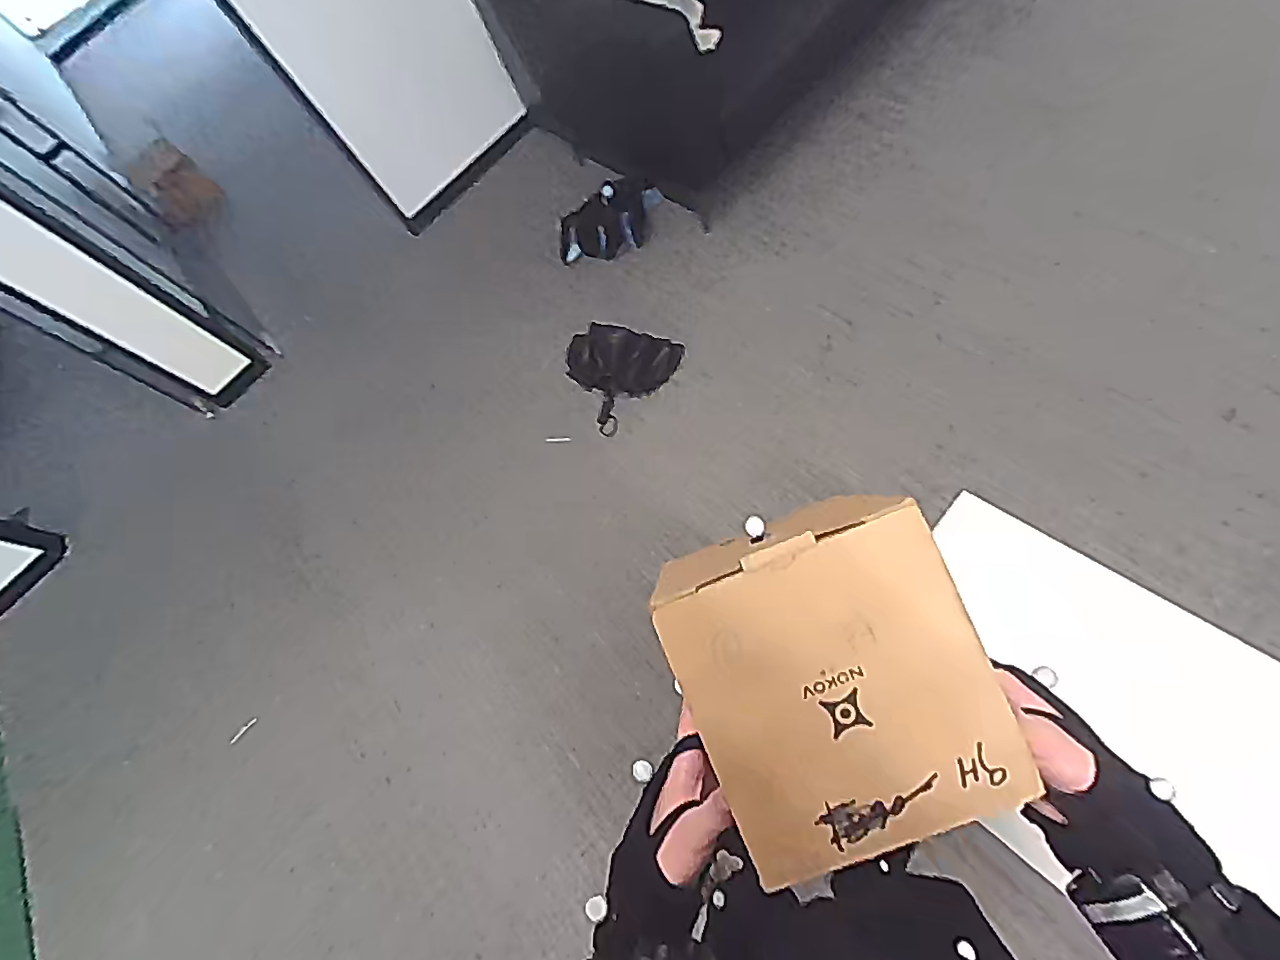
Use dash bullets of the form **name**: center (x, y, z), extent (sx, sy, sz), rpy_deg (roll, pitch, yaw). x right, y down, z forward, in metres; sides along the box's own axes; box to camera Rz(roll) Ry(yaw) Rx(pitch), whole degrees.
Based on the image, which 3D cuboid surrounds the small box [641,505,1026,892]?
- **small box**: center (0.112, 0.127, 0.385), extent (0.168, 0.176, 0.179), rpy_deg (-23, 86, 5)
